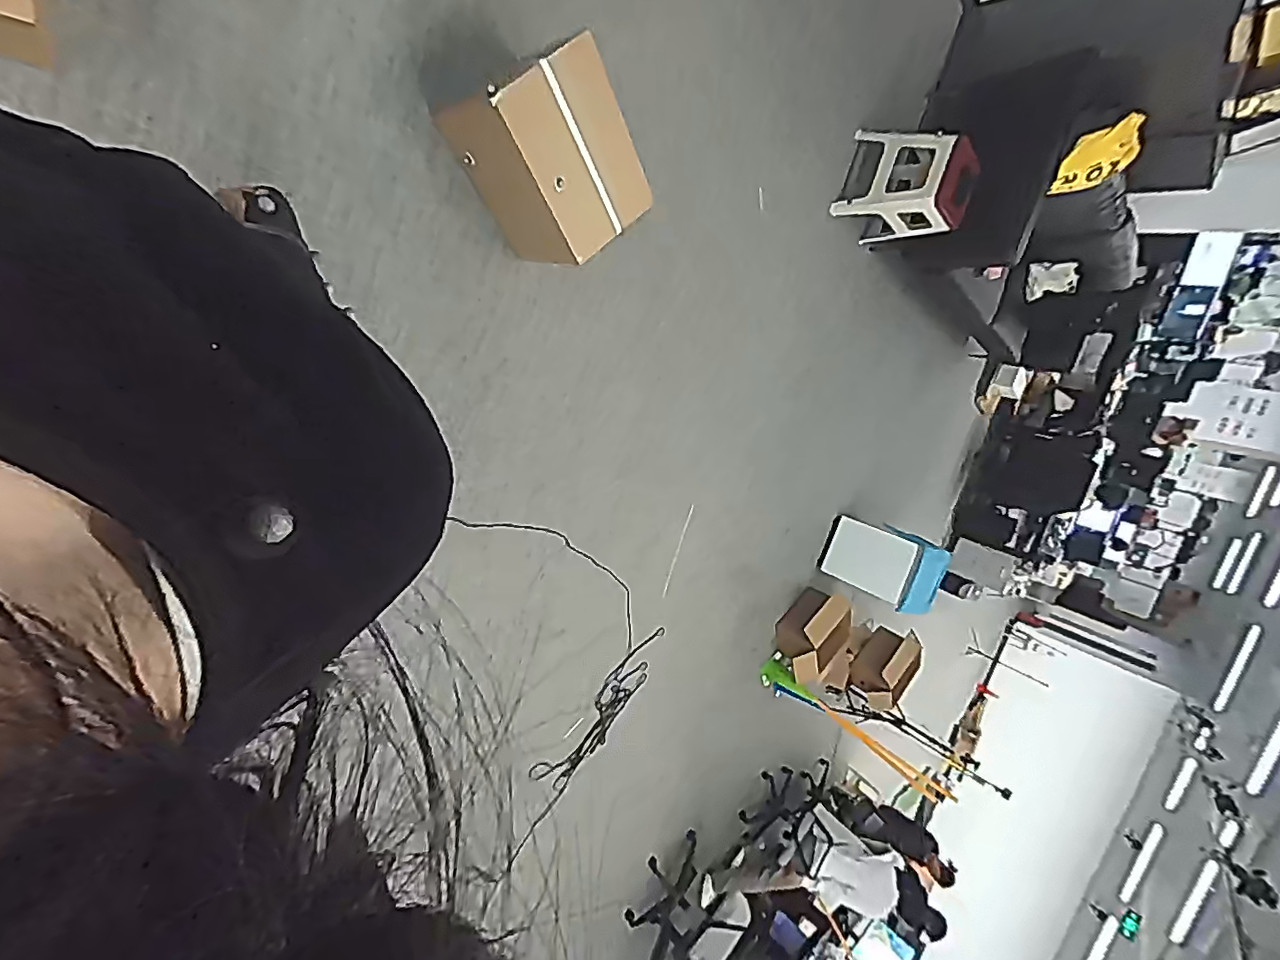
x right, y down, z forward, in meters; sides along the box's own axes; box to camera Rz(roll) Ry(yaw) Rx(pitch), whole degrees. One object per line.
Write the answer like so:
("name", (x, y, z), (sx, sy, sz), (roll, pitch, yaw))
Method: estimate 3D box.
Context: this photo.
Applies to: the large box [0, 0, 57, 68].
("large box", (-1.036, -0.775, 0.652), (0.408, 0.320, 0.320), (-8, 112, -41))
